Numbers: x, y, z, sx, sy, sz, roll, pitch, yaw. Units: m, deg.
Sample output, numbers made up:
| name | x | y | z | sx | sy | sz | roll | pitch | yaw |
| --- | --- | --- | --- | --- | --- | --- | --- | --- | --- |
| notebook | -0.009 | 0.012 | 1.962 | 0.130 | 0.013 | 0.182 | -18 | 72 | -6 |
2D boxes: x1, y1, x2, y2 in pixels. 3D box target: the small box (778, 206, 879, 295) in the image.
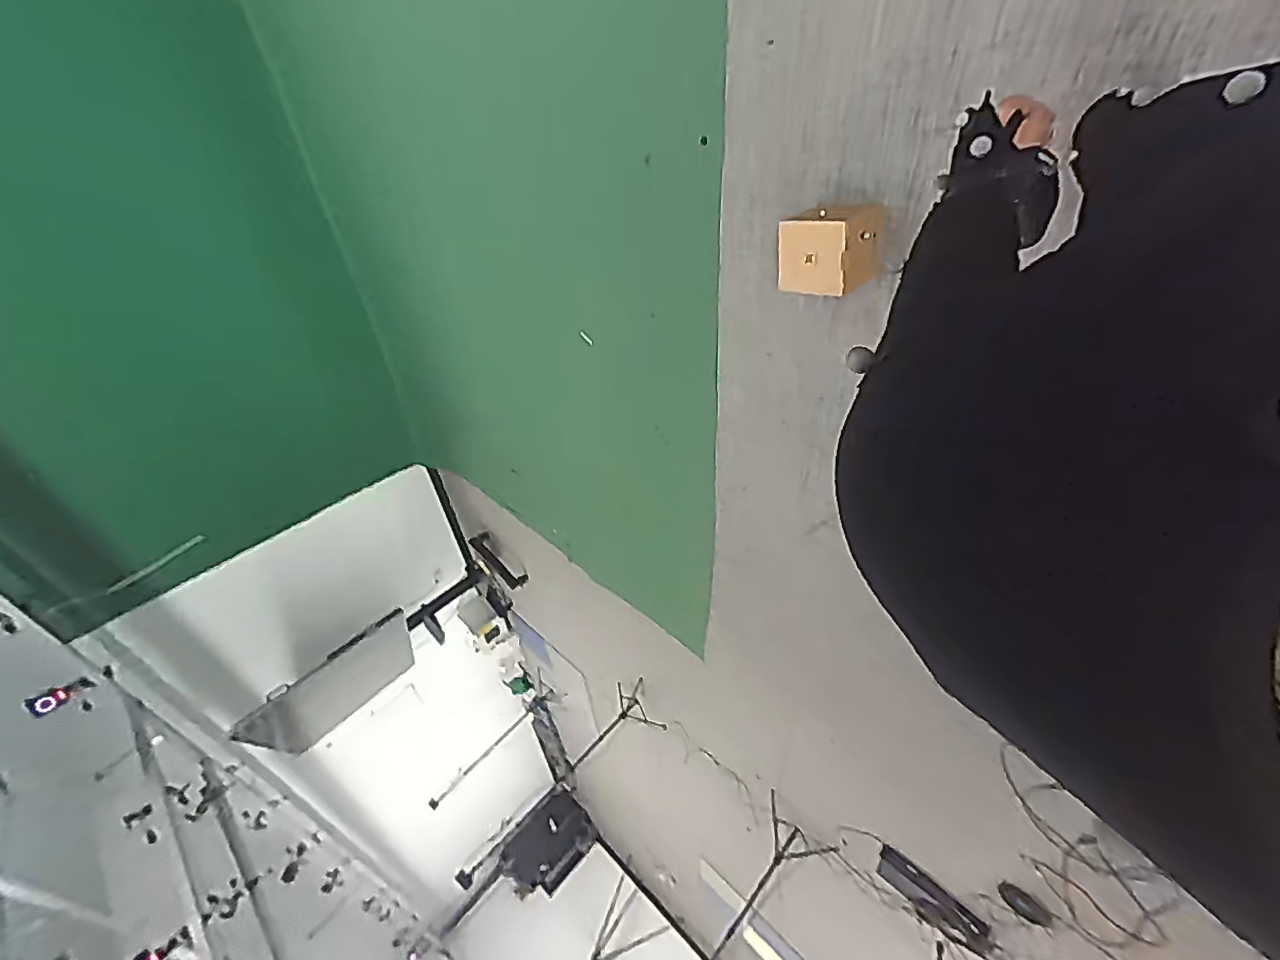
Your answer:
| name | x | y | z | sx | sy | sz | roll | pitch | yaw |
| --- | --- | --- | --- | --- | --- | --- | --- | --- | --- |
| small box | 0.458 | -0.564 | 1.316 | 0.179 | 0.176 | 0.168 | 24 | 135 | 40 |
